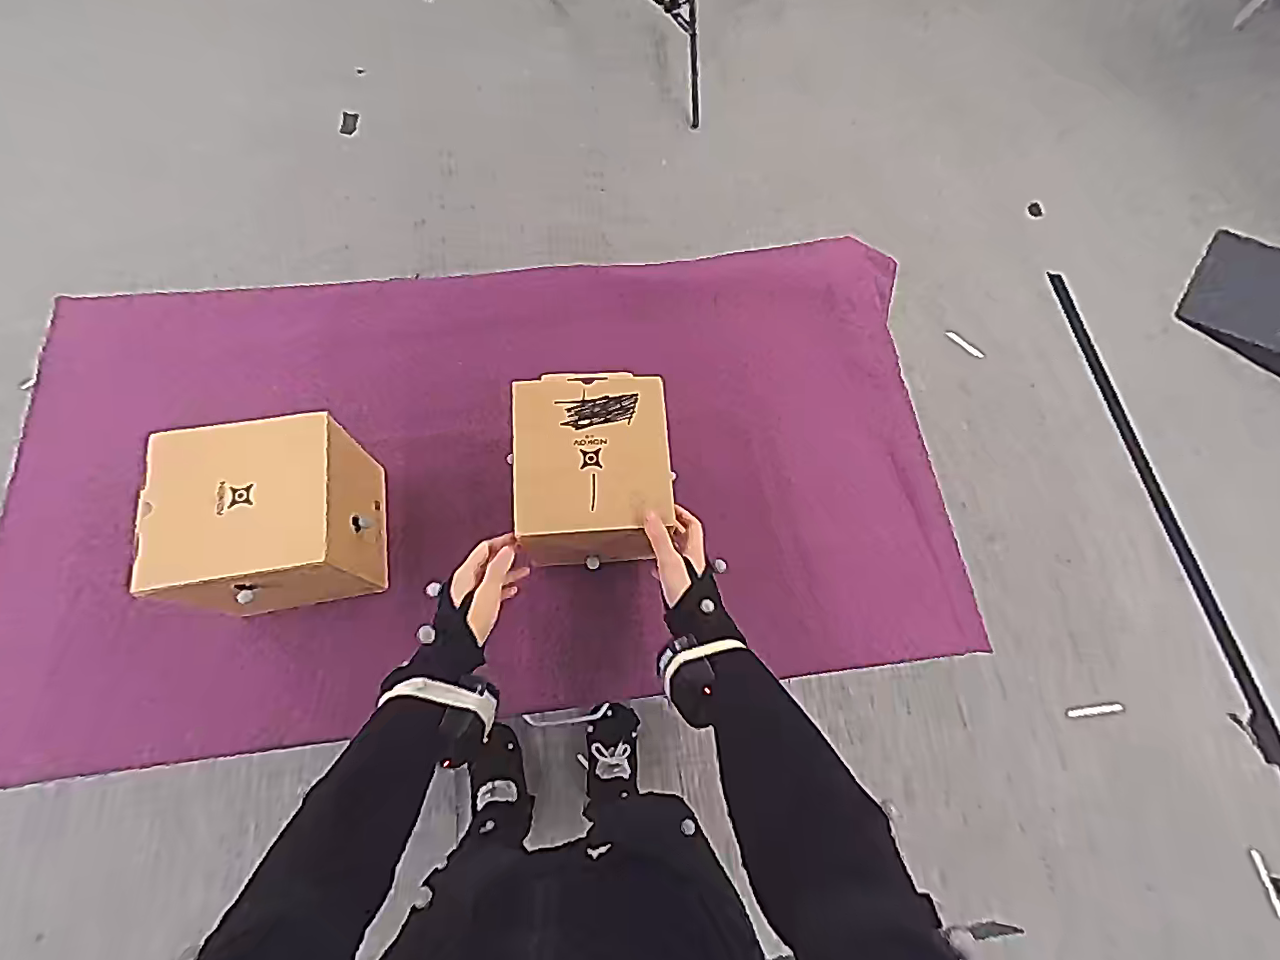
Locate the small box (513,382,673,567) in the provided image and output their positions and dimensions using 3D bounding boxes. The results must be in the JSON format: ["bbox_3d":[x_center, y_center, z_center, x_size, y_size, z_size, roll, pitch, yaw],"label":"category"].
[{"bbox_3d":[-0.057,0.000,0.651,0.168,0.176,0.179,-3,71,-5],"label":"small box"}]

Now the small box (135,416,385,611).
[{"bbox_3d":[-0.404,0.046,0.612,0.179,0.176,0.168,-9,71,-7],"label":"small box"}]
